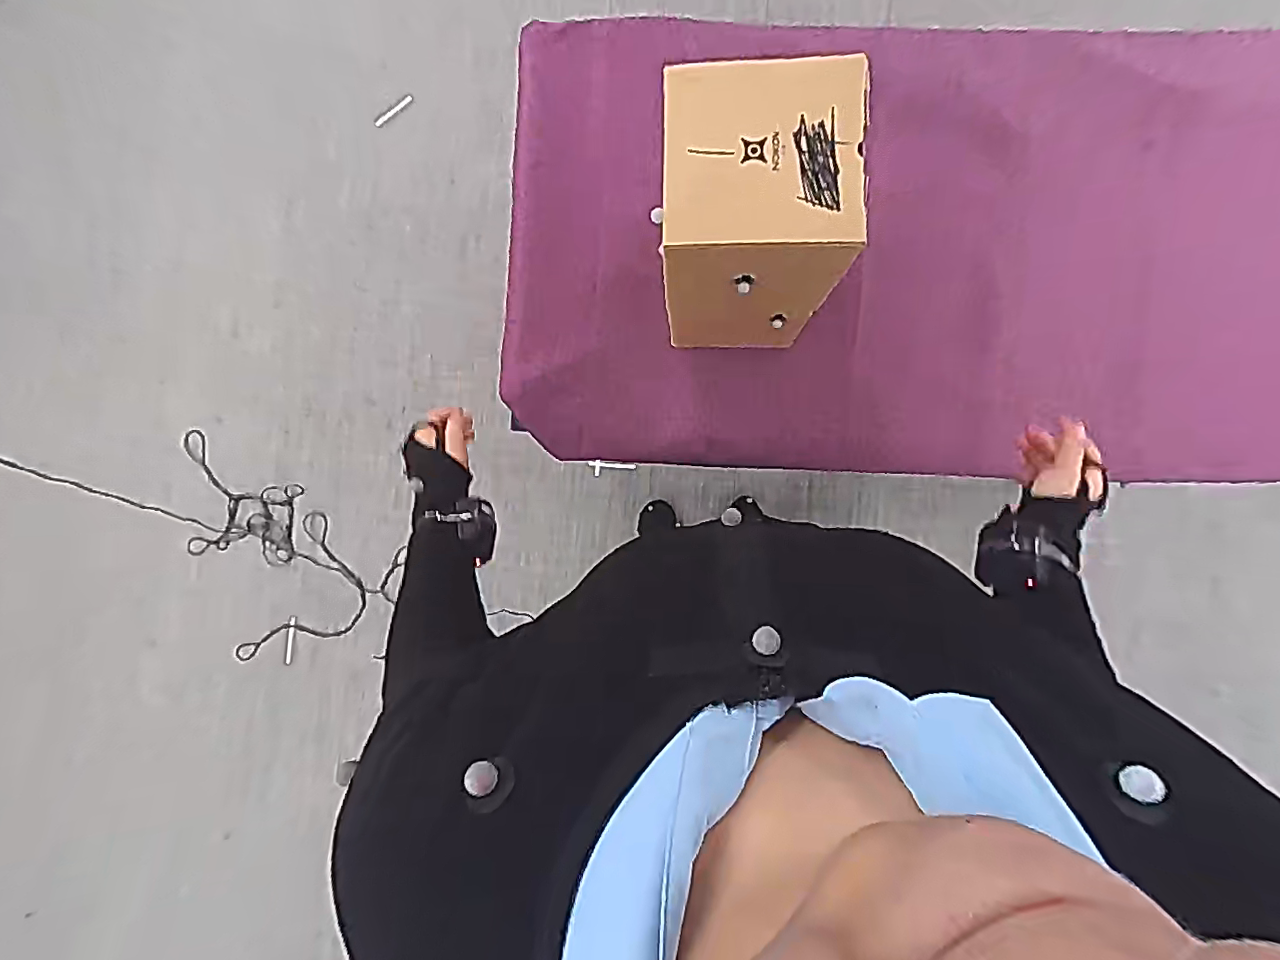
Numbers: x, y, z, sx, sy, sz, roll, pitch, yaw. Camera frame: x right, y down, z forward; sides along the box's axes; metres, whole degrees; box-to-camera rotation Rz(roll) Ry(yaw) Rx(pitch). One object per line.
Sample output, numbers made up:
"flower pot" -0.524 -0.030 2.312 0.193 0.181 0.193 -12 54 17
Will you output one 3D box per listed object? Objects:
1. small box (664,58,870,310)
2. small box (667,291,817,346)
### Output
"small box" 0.116 -0.281 0.549 0.179 0.176 0.168 1 88 5
"small box" 0.128 -0.280 0.713 0.179 0.176 0.168 1 88 4
